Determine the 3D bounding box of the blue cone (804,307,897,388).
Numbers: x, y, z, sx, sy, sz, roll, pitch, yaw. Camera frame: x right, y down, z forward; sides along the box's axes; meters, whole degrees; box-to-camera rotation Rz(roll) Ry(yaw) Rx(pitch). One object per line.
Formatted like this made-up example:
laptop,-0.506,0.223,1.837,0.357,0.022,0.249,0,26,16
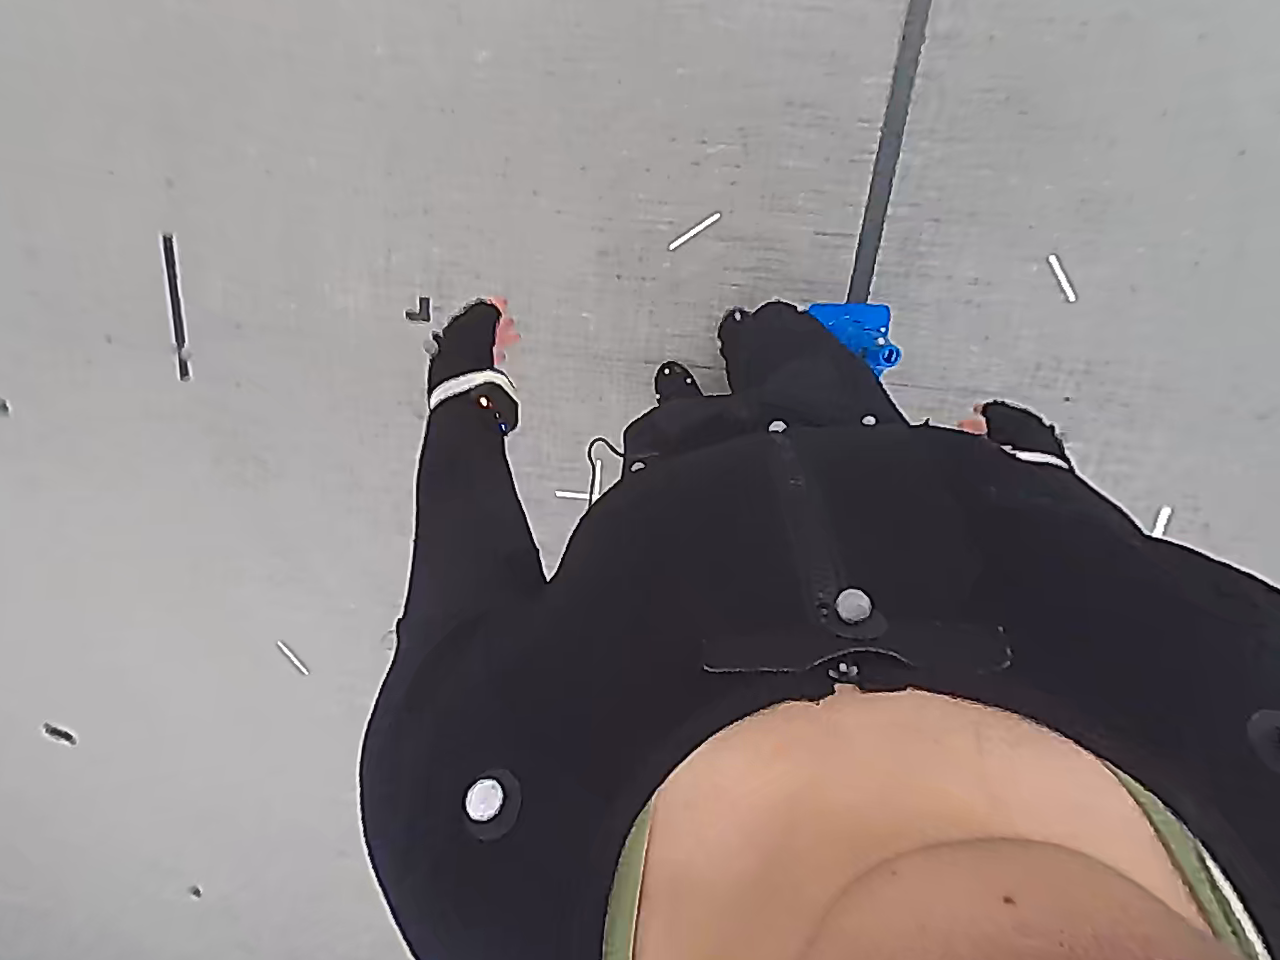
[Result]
blue cone,0.487,-0.273,1.172,0.192,0.380,0.193,1,108,6
